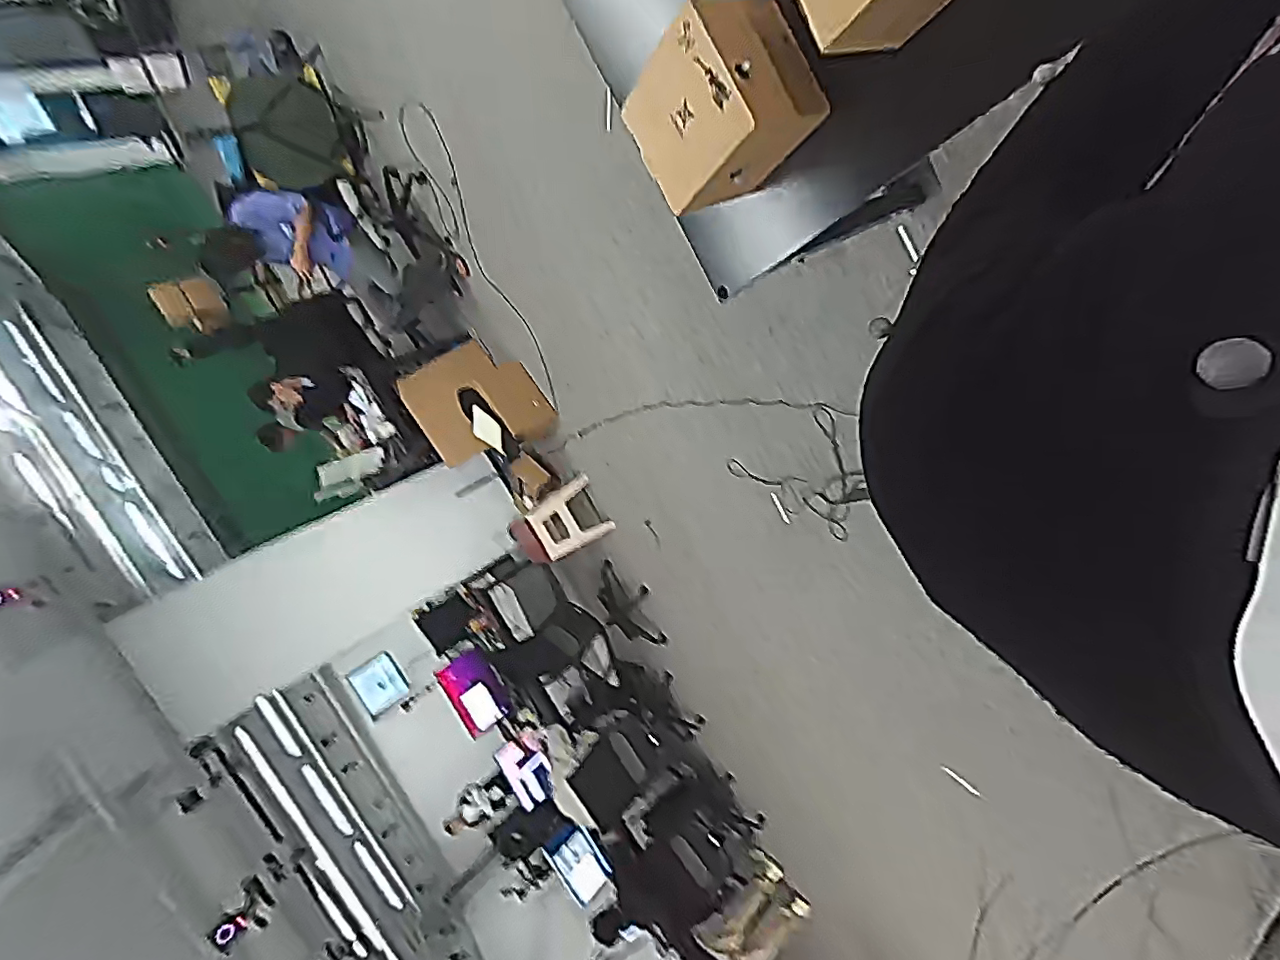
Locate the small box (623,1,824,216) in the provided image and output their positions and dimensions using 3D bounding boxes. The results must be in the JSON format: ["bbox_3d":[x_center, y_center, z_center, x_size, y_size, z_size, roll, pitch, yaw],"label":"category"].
[{"bbox_3d":[0.112,-0.500,0.740,0.168,0.176,0.179,60,149,-4],"label":"small box"}]

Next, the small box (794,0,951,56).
[{"bbox_3d":[0.246,-0.549,0.507,0.179,0.176,0.168,-17,102,58],"label":"small box"}]
